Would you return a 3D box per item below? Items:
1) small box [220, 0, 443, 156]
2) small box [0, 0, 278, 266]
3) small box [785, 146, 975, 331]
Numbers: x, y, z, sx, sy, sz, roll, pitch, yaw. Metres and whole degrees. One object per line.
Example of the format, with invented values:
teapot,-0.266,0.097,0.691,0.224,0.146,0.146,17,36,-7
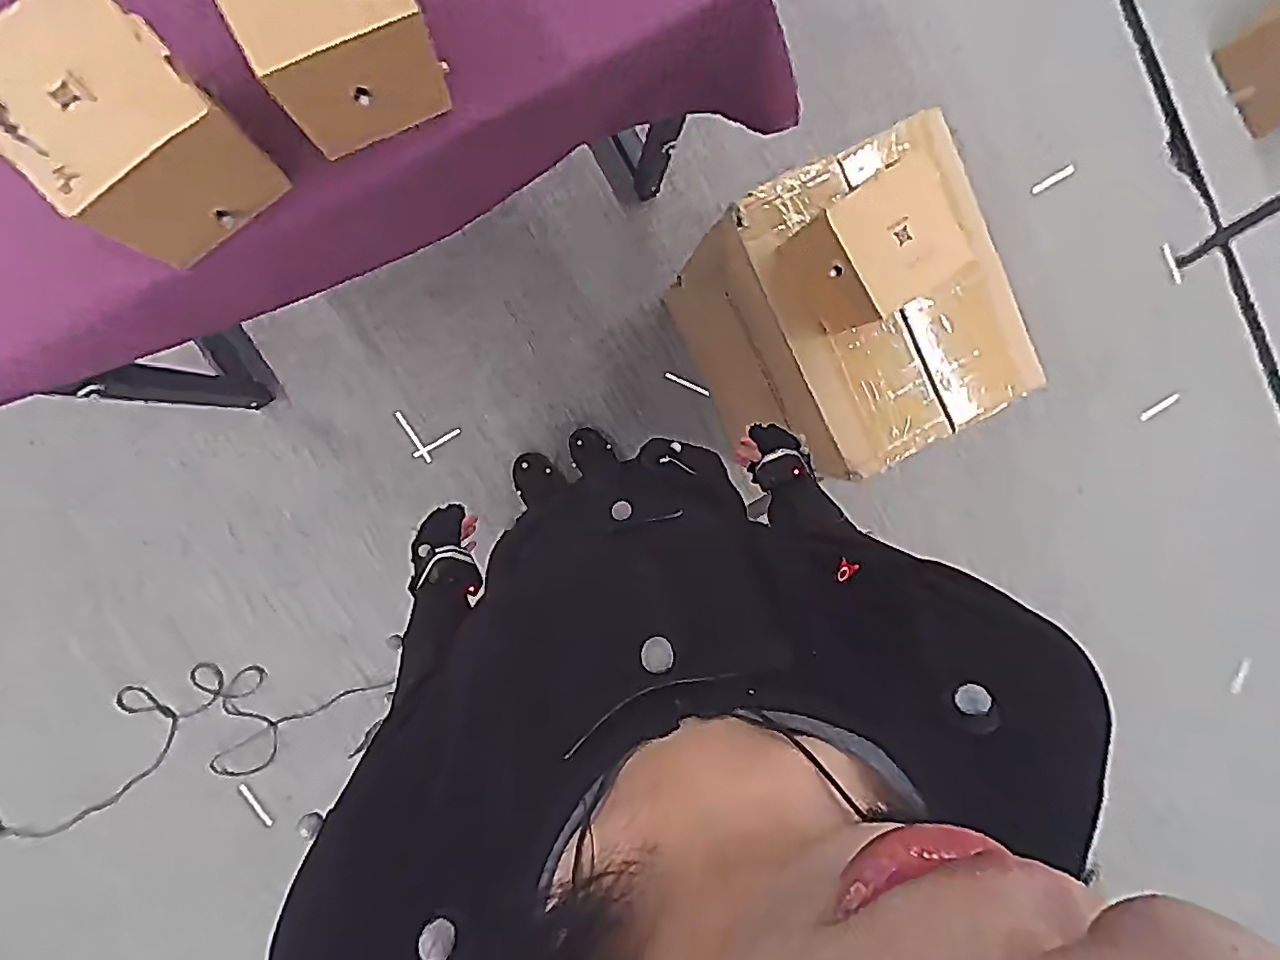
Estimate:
small box,-0.343,-0.512,0.610,0.179,0.176,0.168,-27,97,-4
small box,-0.544,-0.373,0.593,0.179,0.176,0.168,-41,98,-4
small box,0.351,-0.351,0.826,0.168,0.176,0.179,-35,100,-1
